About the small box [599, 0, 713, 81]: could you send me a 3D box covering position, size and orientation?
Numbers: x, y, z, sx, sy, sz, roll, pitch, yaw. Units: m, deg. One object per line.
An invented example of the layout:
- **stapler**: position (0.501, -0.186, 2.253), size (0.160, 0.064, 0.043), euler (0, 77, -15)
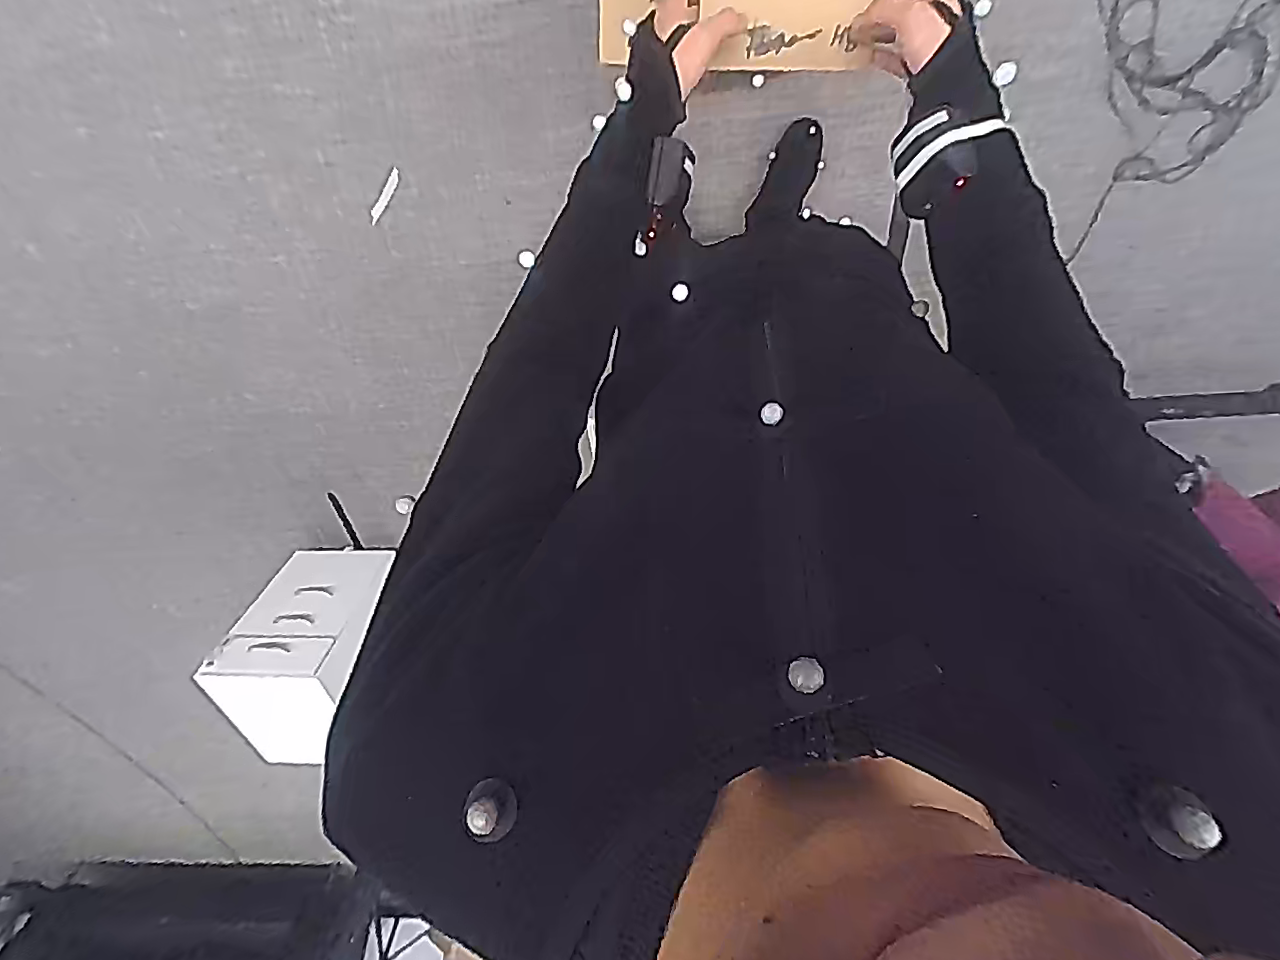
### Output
- **small box**: position (0.028, -0.739, 0.840), size (0.168, 0.176, 0.179), euler (5, 125, 1)
